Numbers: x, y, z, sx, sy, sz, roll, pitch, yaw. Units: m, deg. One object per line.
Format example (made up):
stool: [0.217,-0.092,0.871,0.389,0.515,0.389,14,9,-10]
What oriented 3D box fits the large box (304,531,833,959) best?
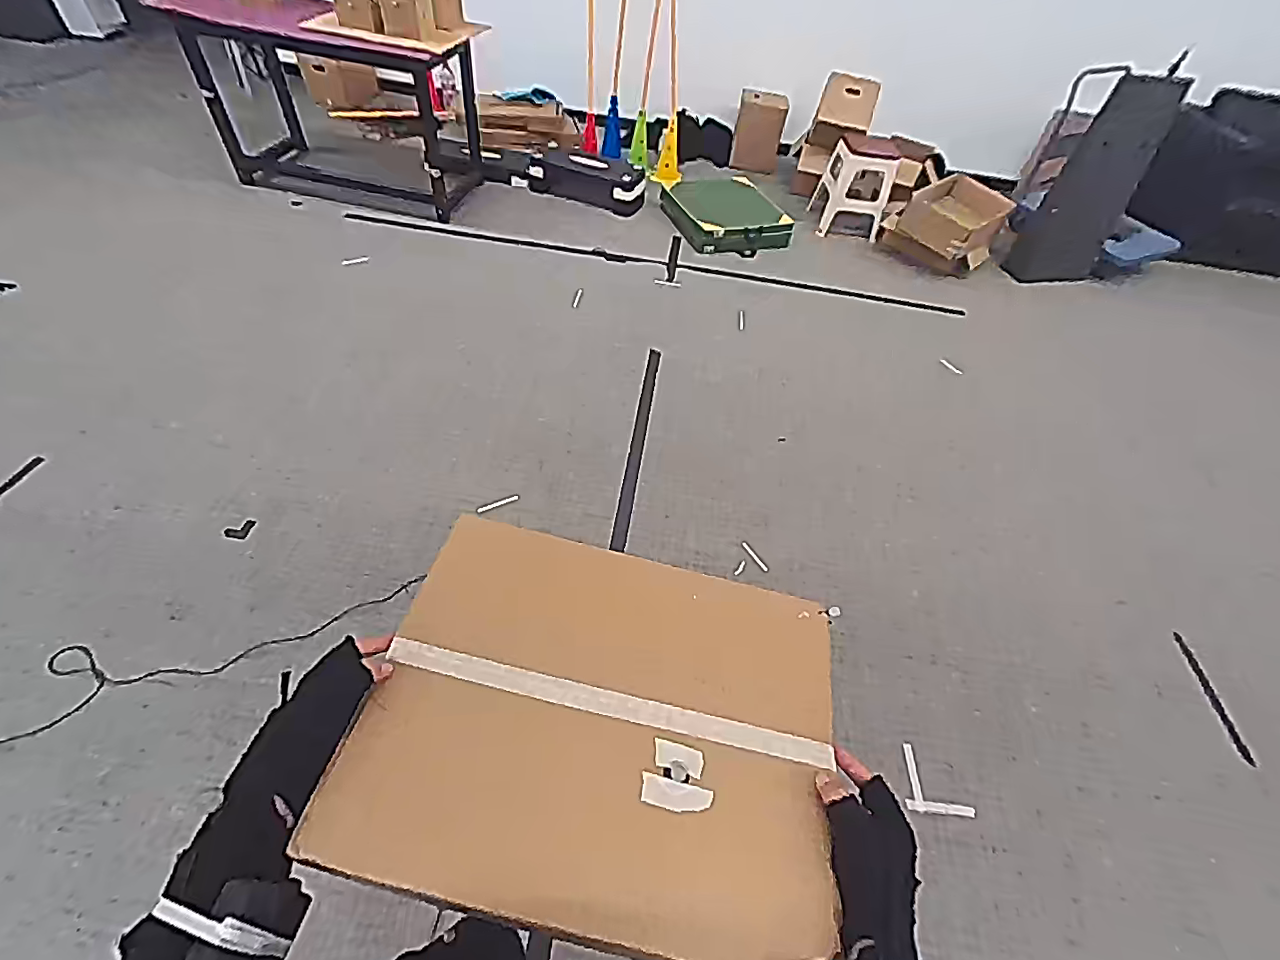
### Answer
large box: [-0.051,0.306,0.597,0.408,0.320,0.320,14,50,0]
